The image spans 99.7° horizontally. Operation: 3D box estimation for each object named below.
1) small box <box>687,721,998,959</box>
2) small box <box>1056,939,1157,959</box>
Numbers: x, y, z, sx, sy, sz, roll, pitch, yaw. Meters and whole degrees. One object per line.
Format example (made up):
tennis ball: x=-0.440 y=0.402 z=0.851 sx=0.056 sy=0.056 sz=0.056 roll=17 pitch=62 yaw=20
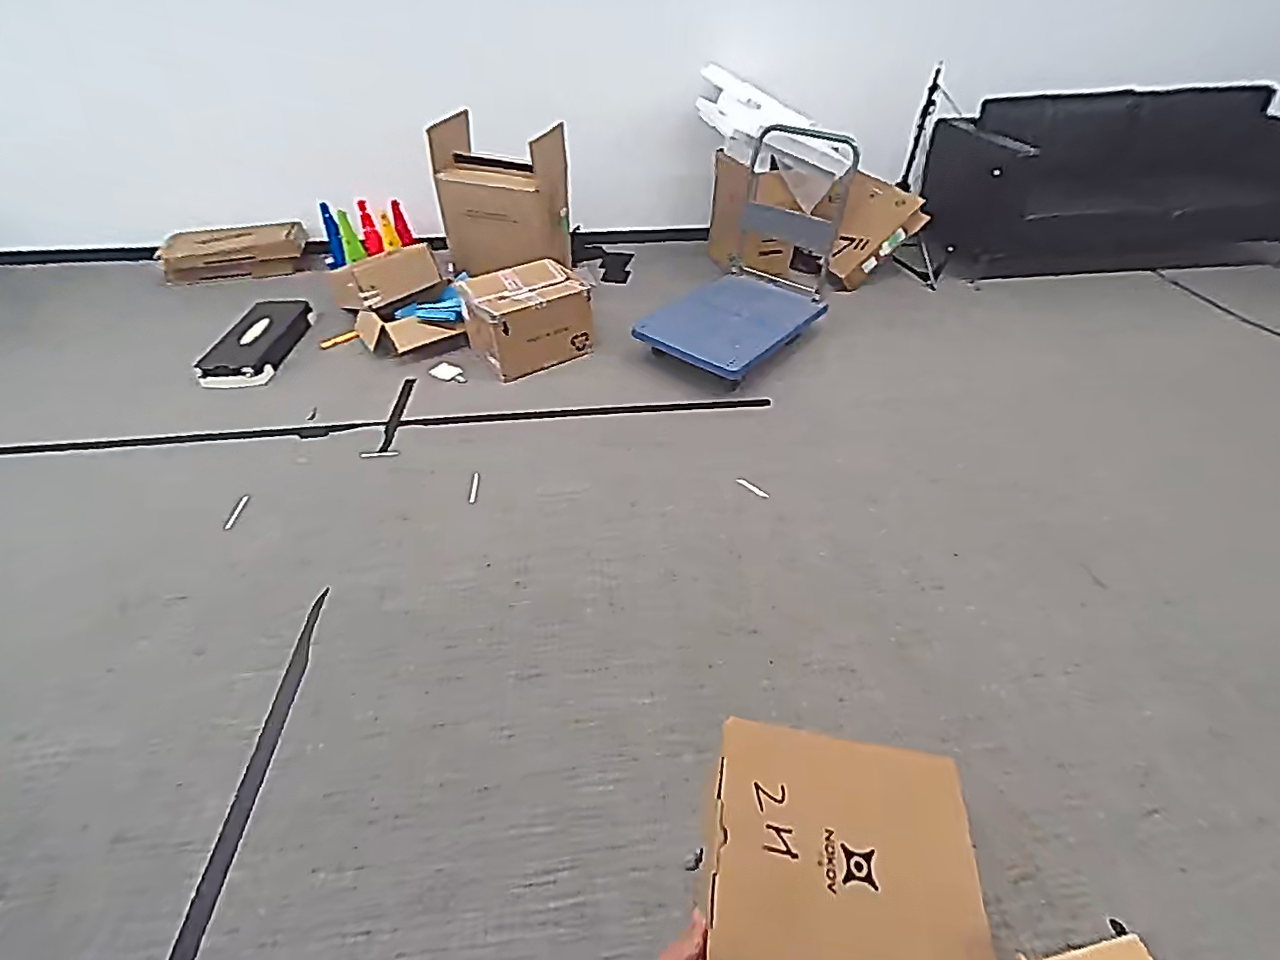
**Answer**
small box: x=0.137 y=0.314 z=0.418 sx=0.179 sy=0.176 sz=0.168 roll=8 pitch=46 yaw=7
small box: x=0.692 y=0.817 z=0.796 sx=0.168 sy=0.176 sz=0.179 roll=-7 pitch=44 yaw=-8
